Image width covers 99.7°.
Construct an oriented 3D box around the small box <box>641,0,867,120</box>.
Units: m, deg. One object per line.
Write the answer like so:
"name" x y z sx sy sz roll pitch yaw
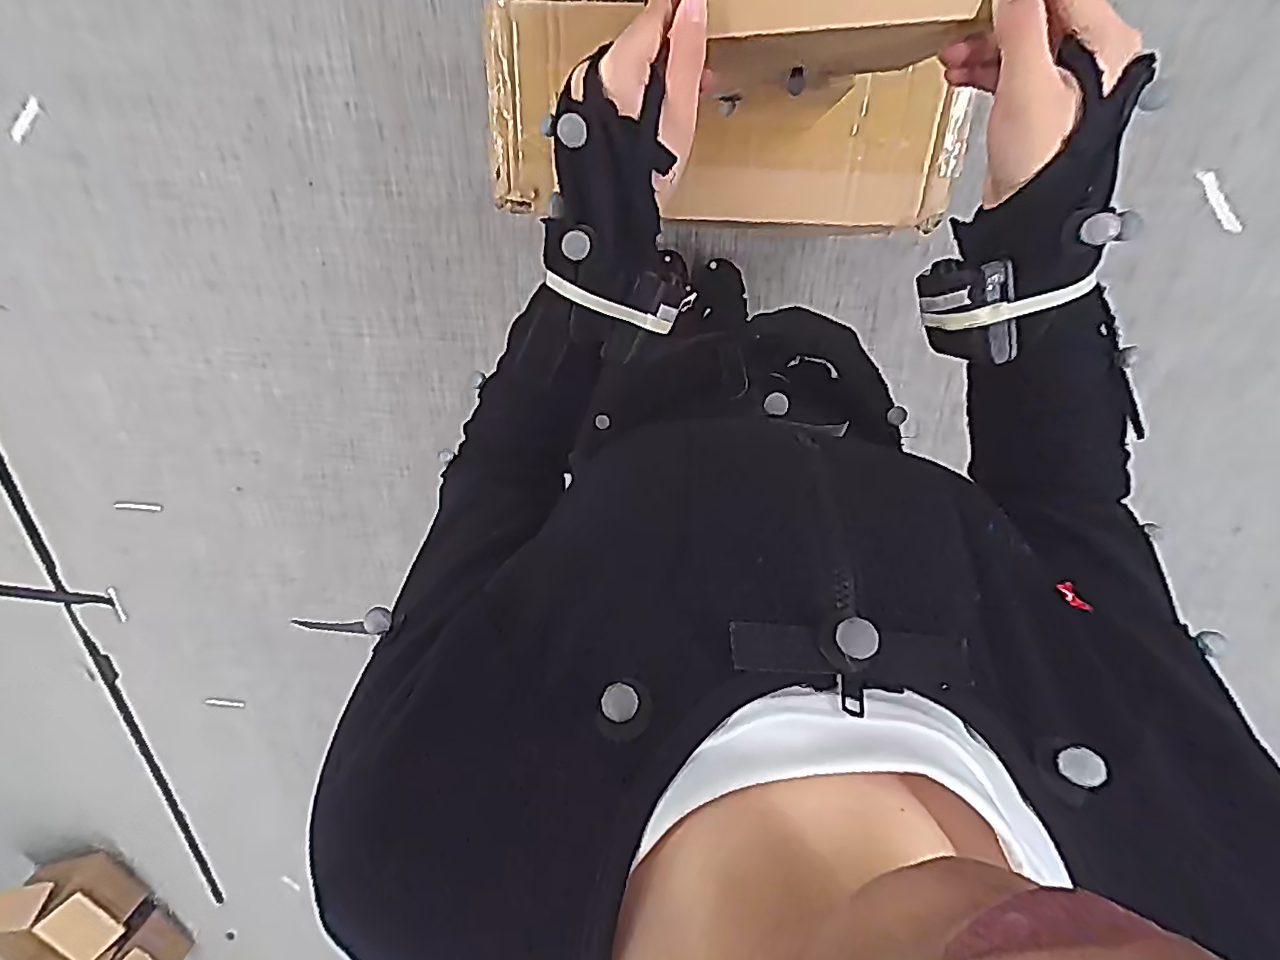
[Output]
"small box" 0.099 -0.435 0.482 0.179 0.176 0.168 5 115 4
